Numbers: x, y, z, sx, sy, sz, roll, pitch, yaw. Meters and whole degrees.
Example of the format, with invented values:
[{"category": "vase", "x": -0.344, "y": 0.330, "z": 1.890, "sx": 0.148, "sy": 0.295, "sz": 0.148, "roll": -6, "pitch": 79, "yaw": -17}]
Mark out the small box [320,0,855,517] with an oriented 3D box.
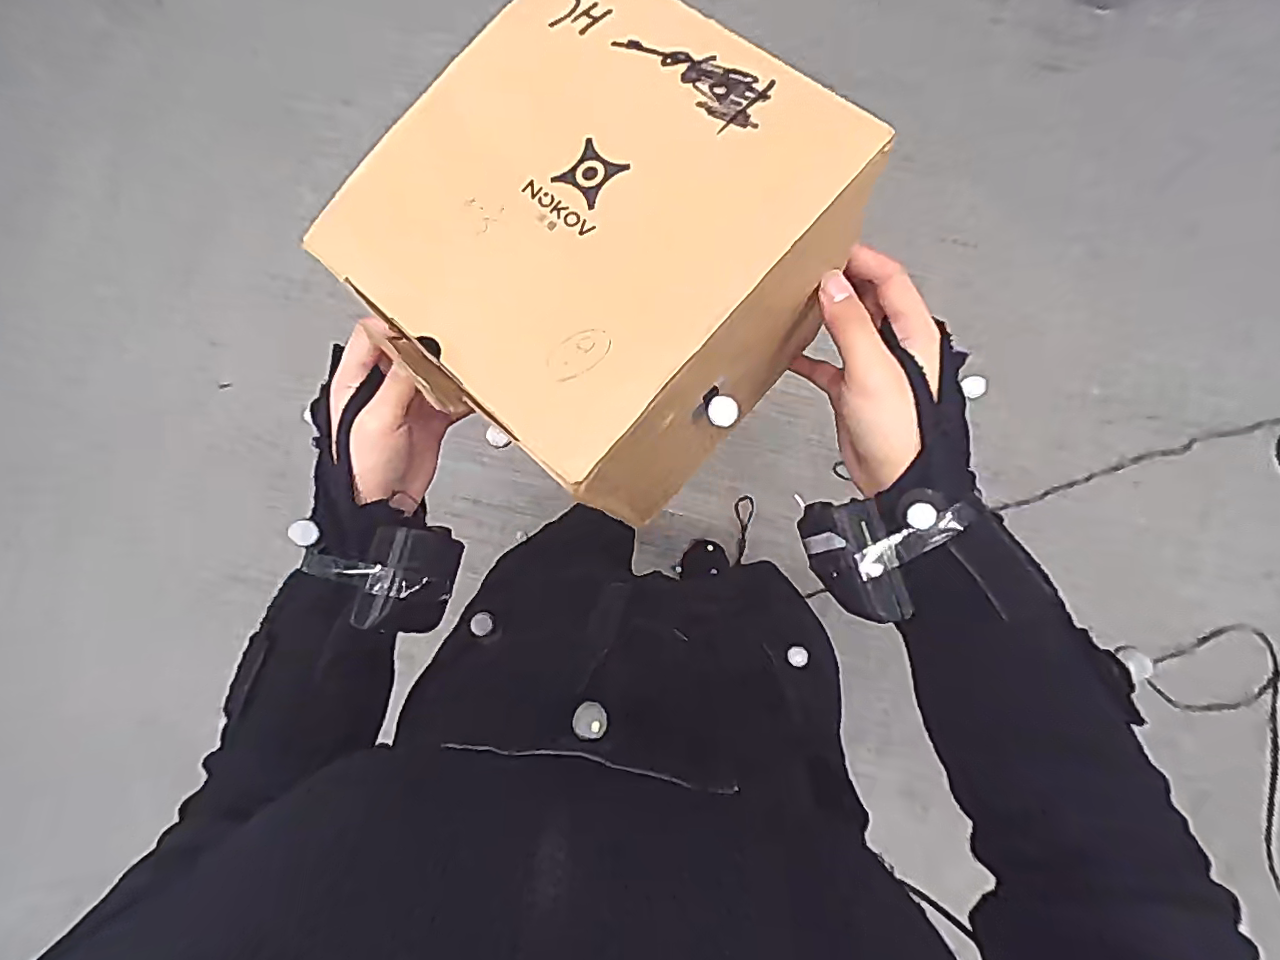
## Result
[{"category": "small box", "x": -0.016, "y": -0.096, "z": 0.301, "sx": 0.168, "sy": 0.176, "sz": 0.179, "roll": 41, "pitch": 89, "yaw": 13}]
